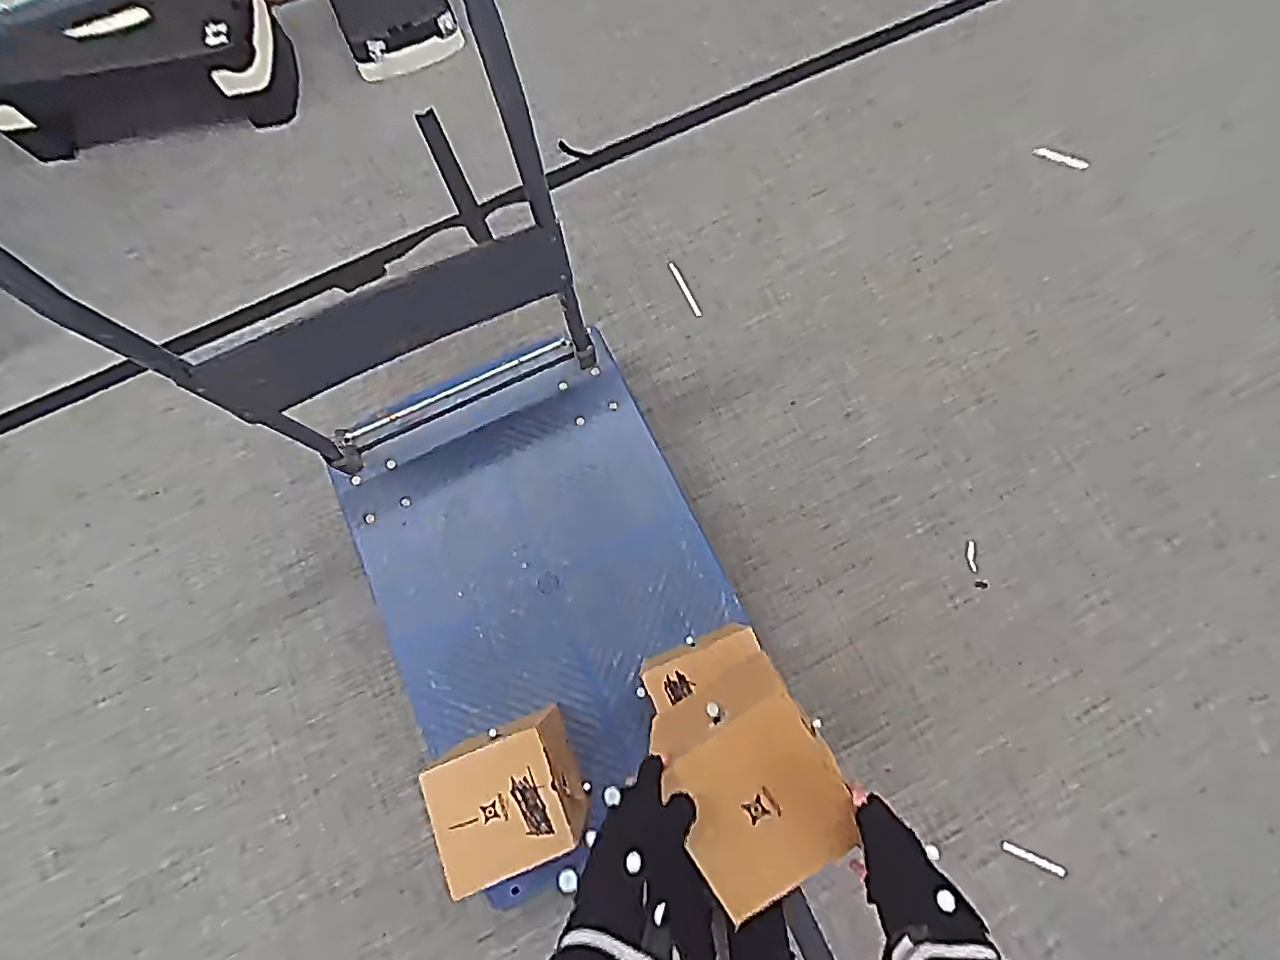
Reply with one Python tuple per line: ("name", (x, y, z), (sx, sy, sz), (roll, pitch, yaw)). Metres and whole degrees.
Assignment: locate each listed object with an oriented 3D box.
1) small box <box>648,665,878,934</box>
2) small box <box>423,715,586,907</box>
("small box", (0.129, 0.346, 0.624), (0.179, 0.176, 0.168), (-35, 85, 1))
("small box", (-0.188, 0.473, 0.806), (0.179, 0.176, 0.168), (-22, 77, -3))
